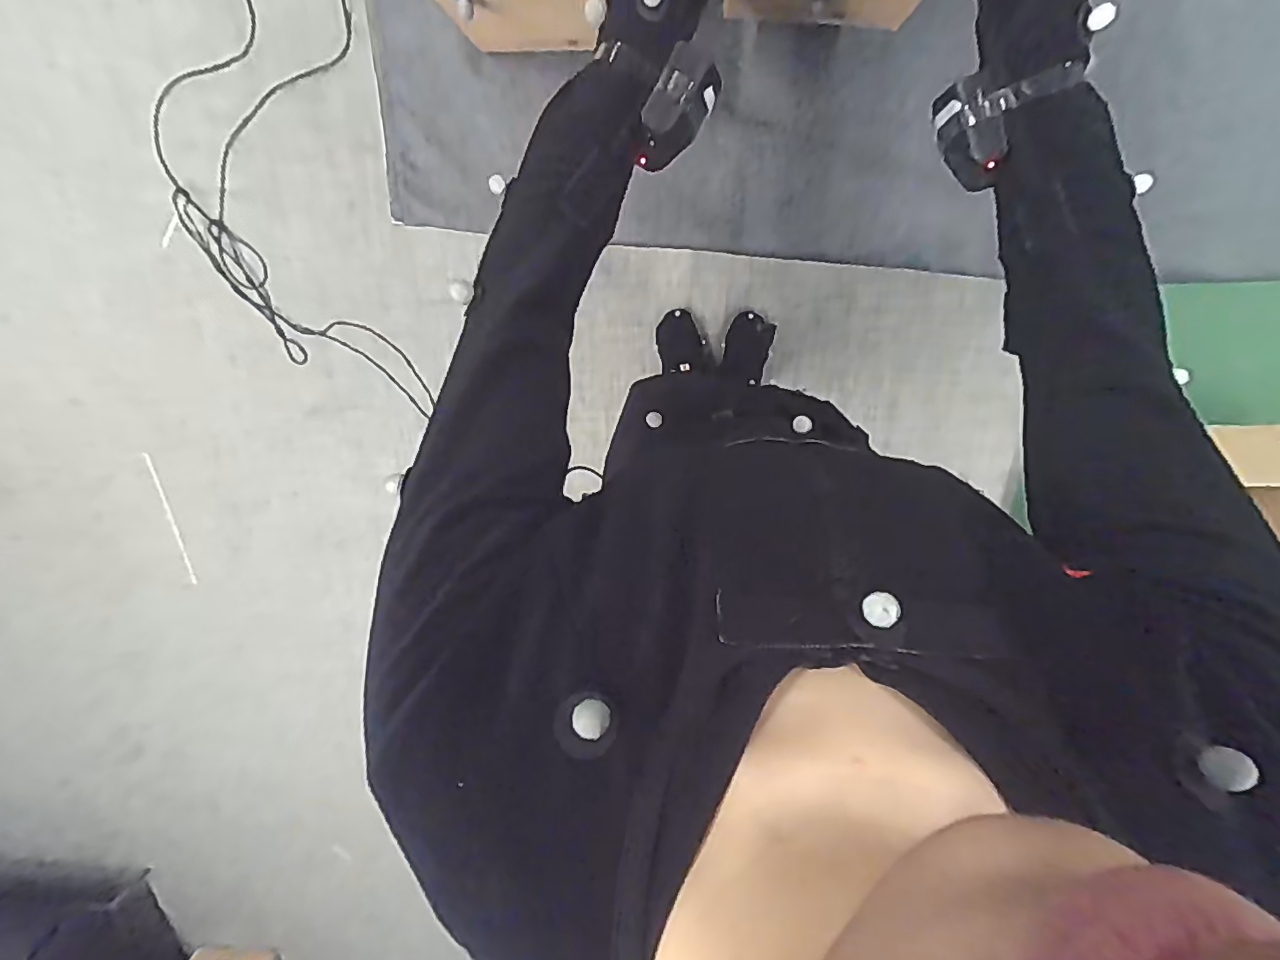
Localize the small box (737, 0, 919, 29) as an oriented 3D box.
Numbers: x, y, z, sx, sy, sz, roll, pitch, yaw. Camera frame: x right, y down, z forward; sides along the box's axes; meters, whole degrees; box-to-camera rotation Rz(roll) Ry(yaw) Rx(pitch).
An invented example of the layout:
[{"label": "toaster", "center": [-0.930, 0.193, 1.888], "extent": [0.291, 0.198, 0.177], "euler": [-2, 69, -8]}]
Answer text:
[{"label": "small box", "center": [0.163, -0.484, 0.401], "extent": [0.168, 0.176, 0.179], "euler": [7, 111, 3]}]
